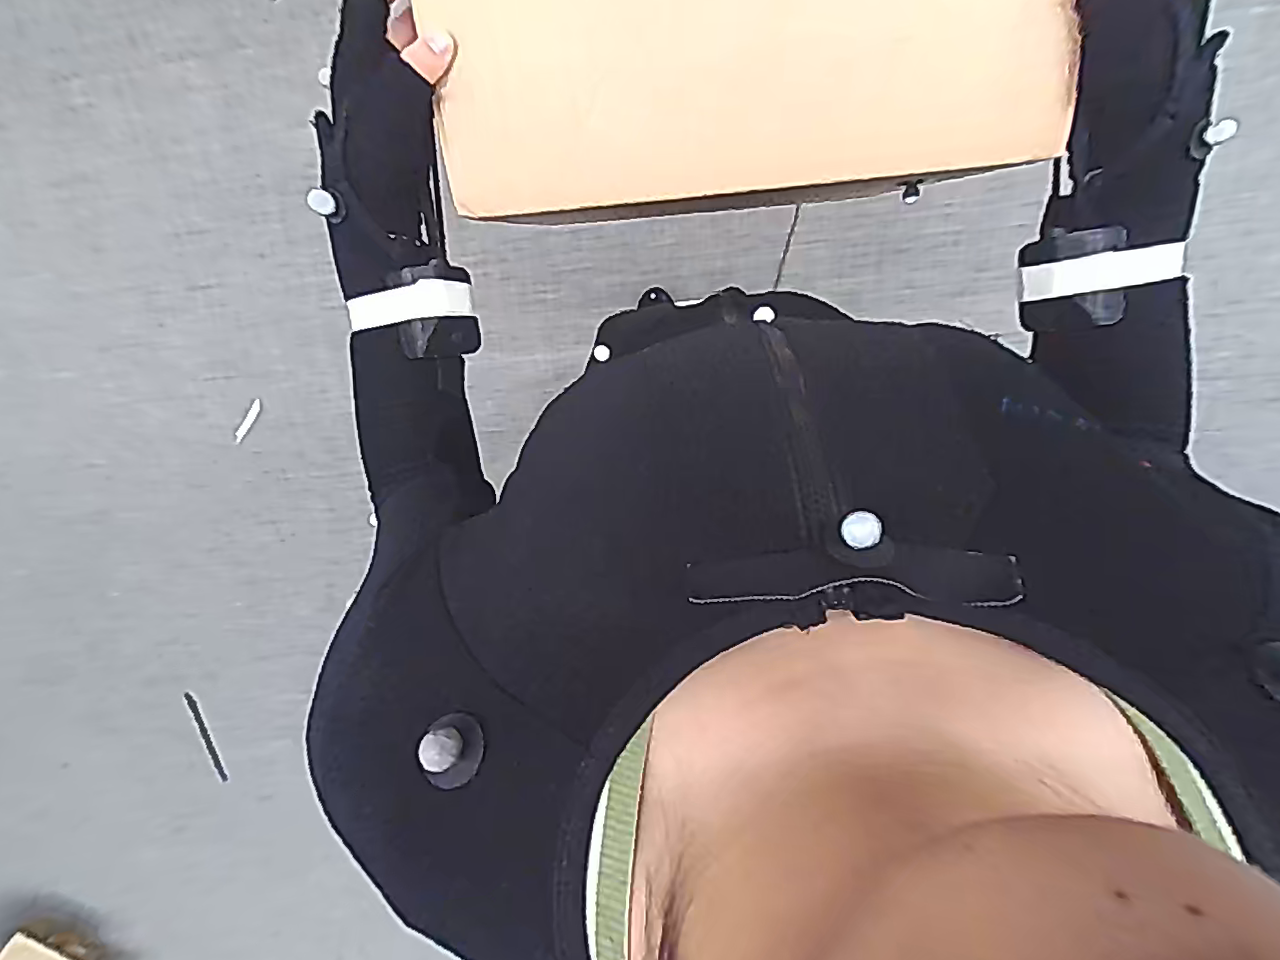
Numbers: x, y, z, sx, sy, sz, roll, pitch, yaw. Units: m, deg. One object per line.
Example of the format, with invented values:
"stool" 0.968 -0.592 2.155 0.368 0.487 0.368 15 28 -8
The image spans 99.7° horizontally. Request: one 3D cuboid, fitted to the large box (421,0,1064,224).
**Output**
"large box" 0.061 -0.401 0.449 0.408 0.320 0.320 -4 113 3
